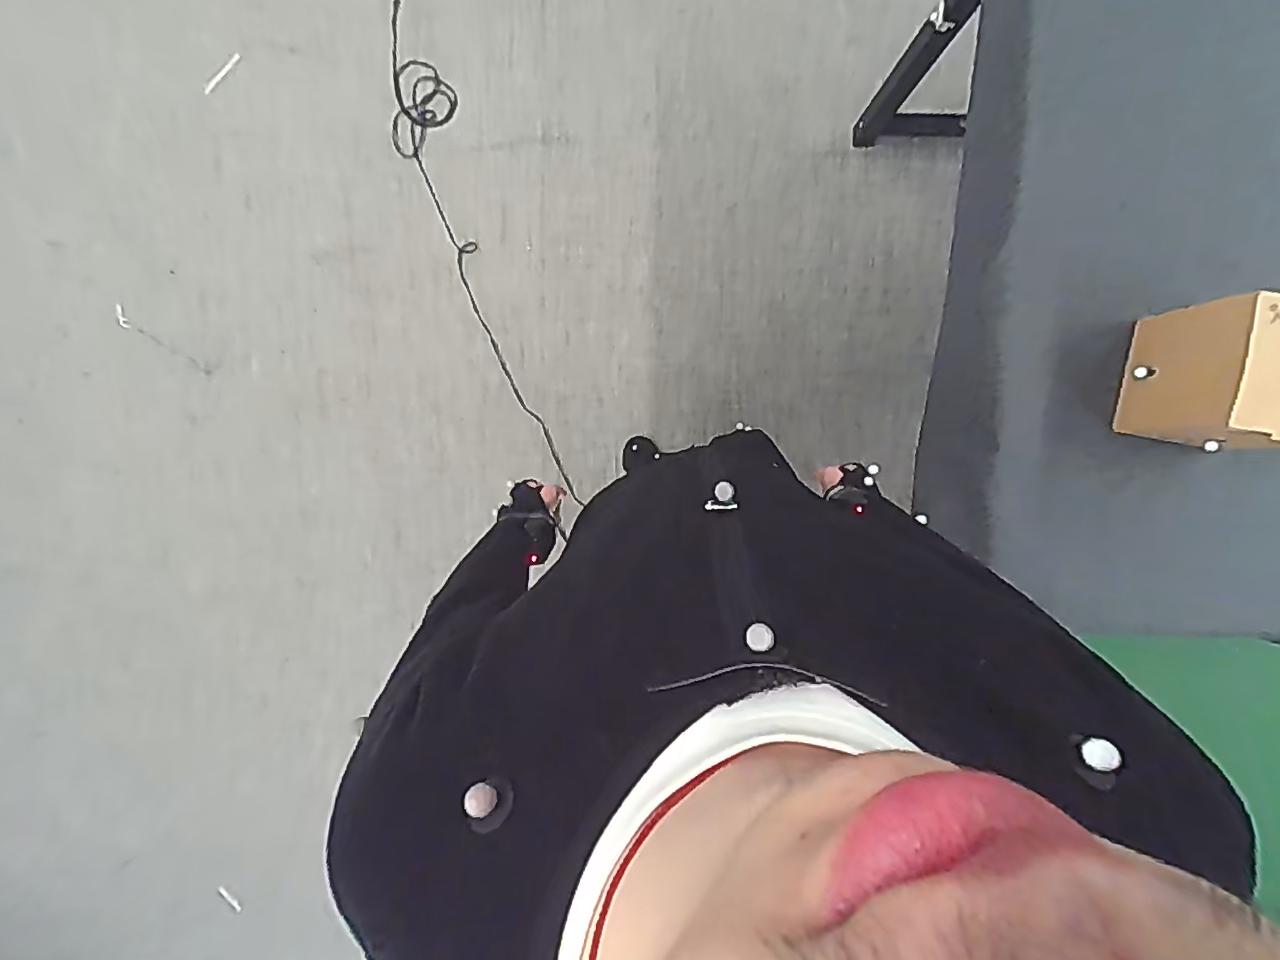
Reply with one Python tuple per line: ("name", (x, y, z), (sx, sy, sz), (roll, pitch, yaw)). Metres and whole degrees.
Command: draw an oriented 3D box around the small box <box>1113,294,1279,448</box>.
("small box", (0.826, -0.141, 0.762), (0.168, 0.176, 0.179), (9, 94, -2))
